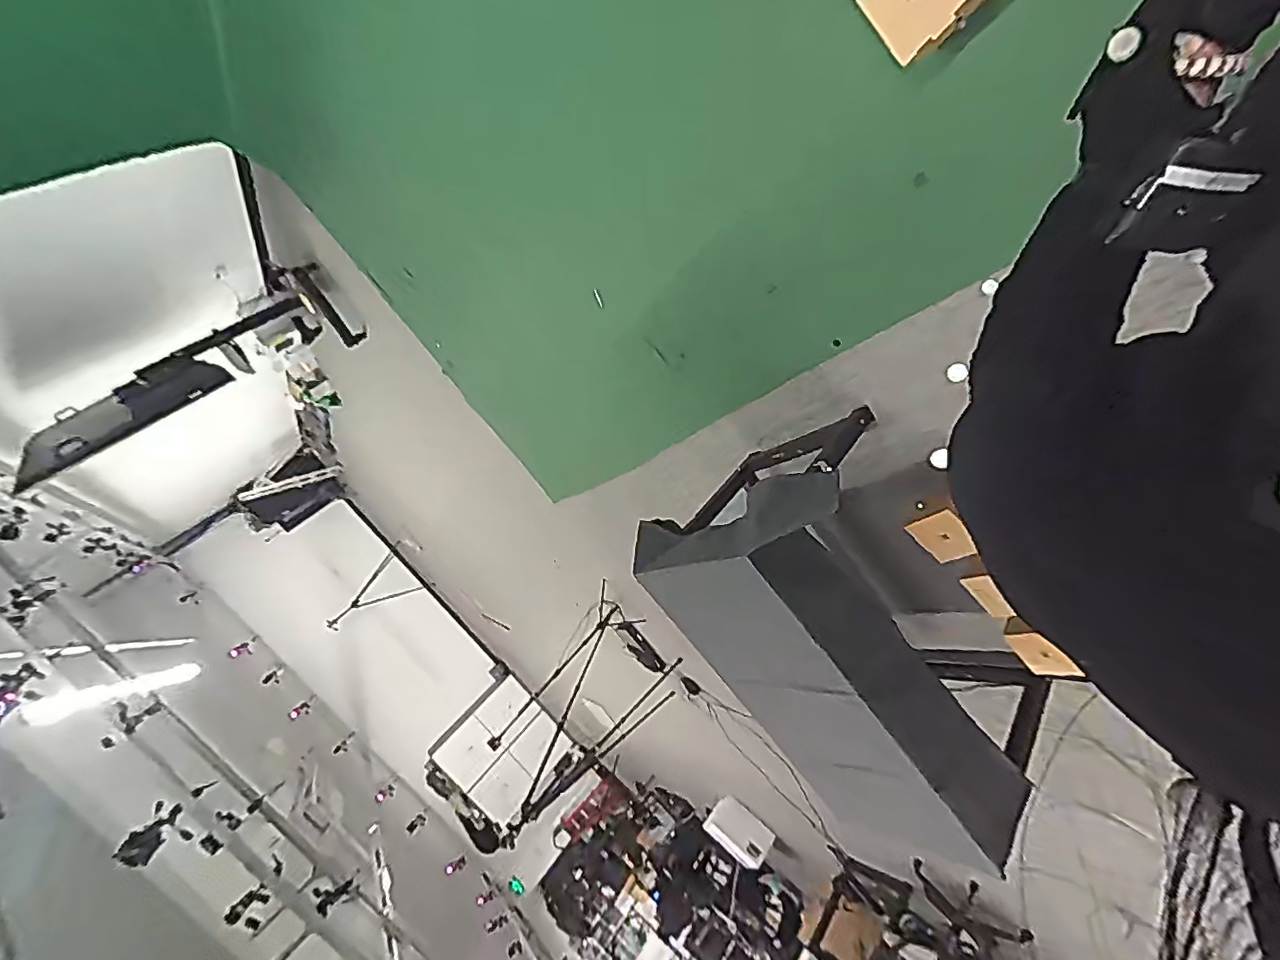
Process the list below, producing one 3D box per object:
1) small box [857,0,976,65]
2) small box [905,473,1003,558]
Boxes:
[{"bbox_3d":[0.526,-0.913,0.977,0.179,0.176,0.168,49,150,-8],"label":"small box"},{"bbox_3d":[0.972,0.110,1.668,0.168,0.176,0.179,44,151,2],"label":"small box"}]
